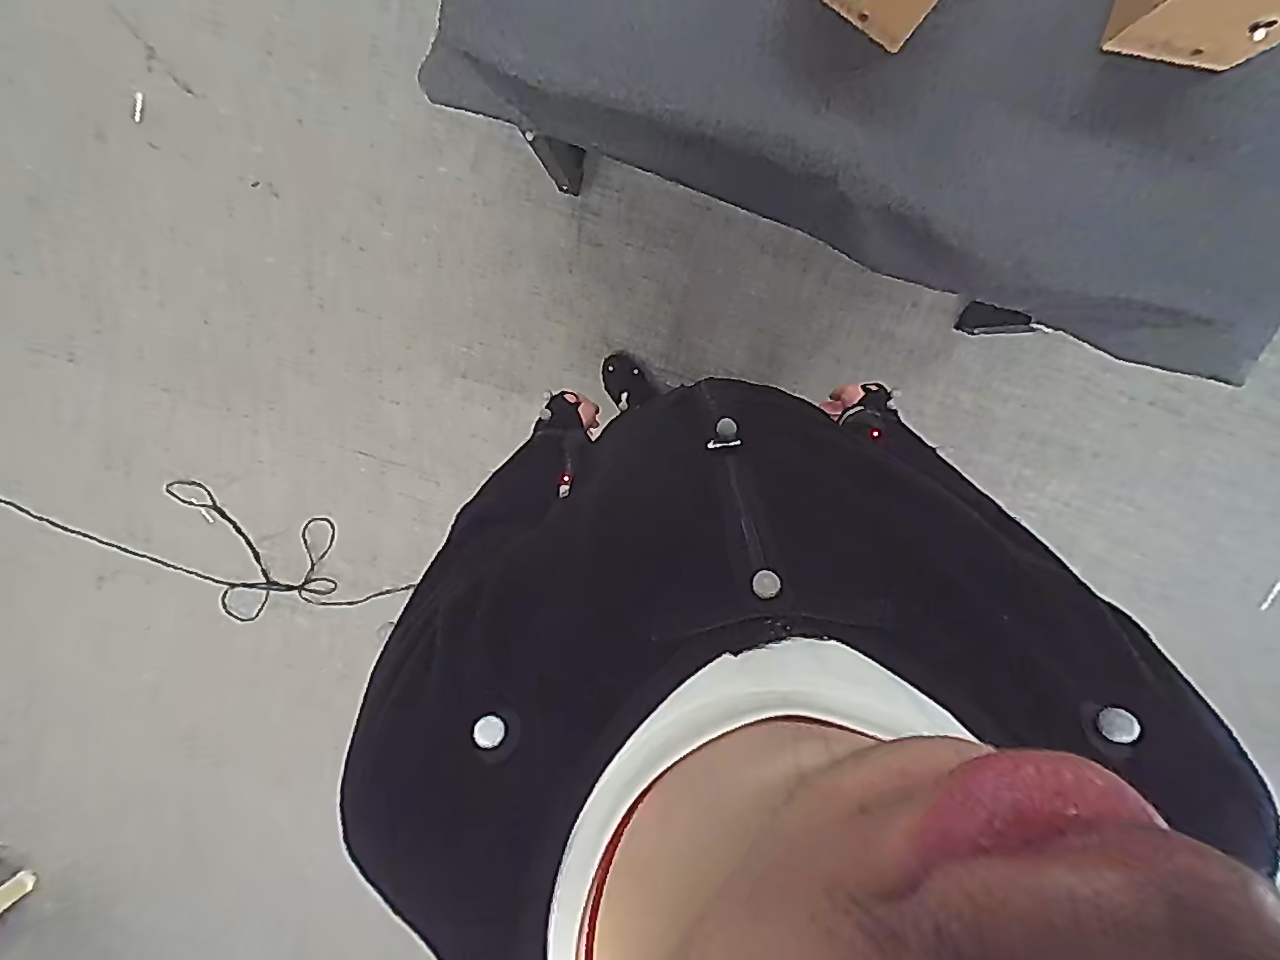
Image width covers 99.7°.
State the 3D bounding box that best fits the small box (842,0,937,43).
[{"bbox_3d":[0.305,-0.643,0.591,0.168,0.176,0.179,32,103,-6],"label":"small box"}]

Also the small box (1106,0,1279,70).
[{"bbox_3d":[0.674,-0.596,0.593,0.168,0.176,0.179,10,103,-2],"label":"small box"}]
